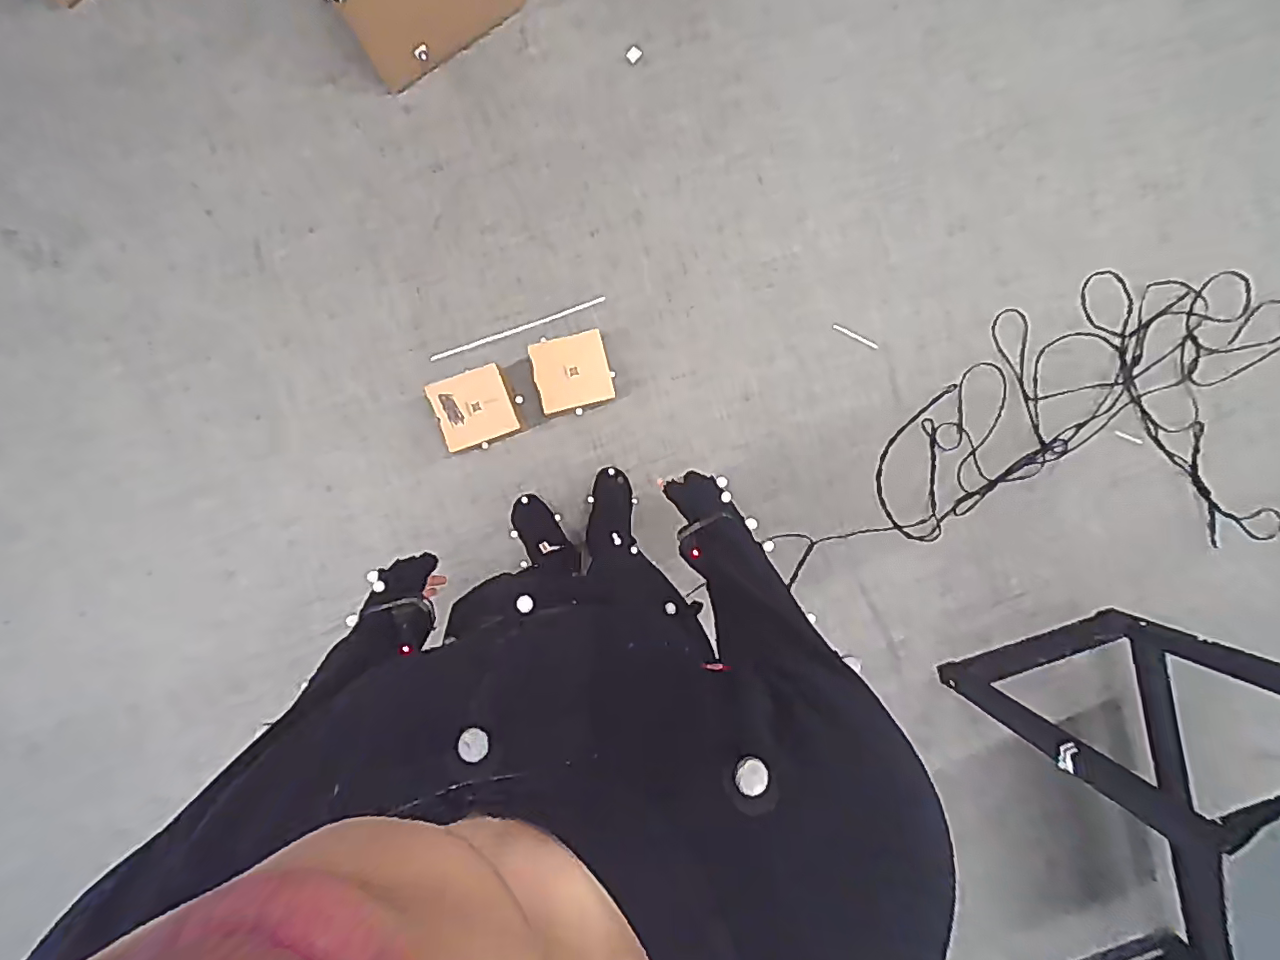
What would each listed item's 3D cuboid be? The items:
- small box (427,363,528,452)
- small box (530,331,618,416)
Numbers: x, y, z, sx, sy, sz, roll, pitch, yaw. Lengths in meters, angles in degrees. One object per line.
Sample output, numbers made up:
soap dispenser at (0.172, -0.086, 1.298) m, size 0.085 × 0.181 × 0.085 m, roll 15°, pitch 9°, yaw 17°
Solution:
small box at (-0.391, -0.173, 1.333) m, size 0.179 × 0.176 × 0.168 m, roll -20°, pitch 96°, yaw -3°
small box at (-0.161, -0.259, 1.345) m, size 0.179 × 0.176 × 0.168 m, roll -15°, pitch 96°, yaw -2°
